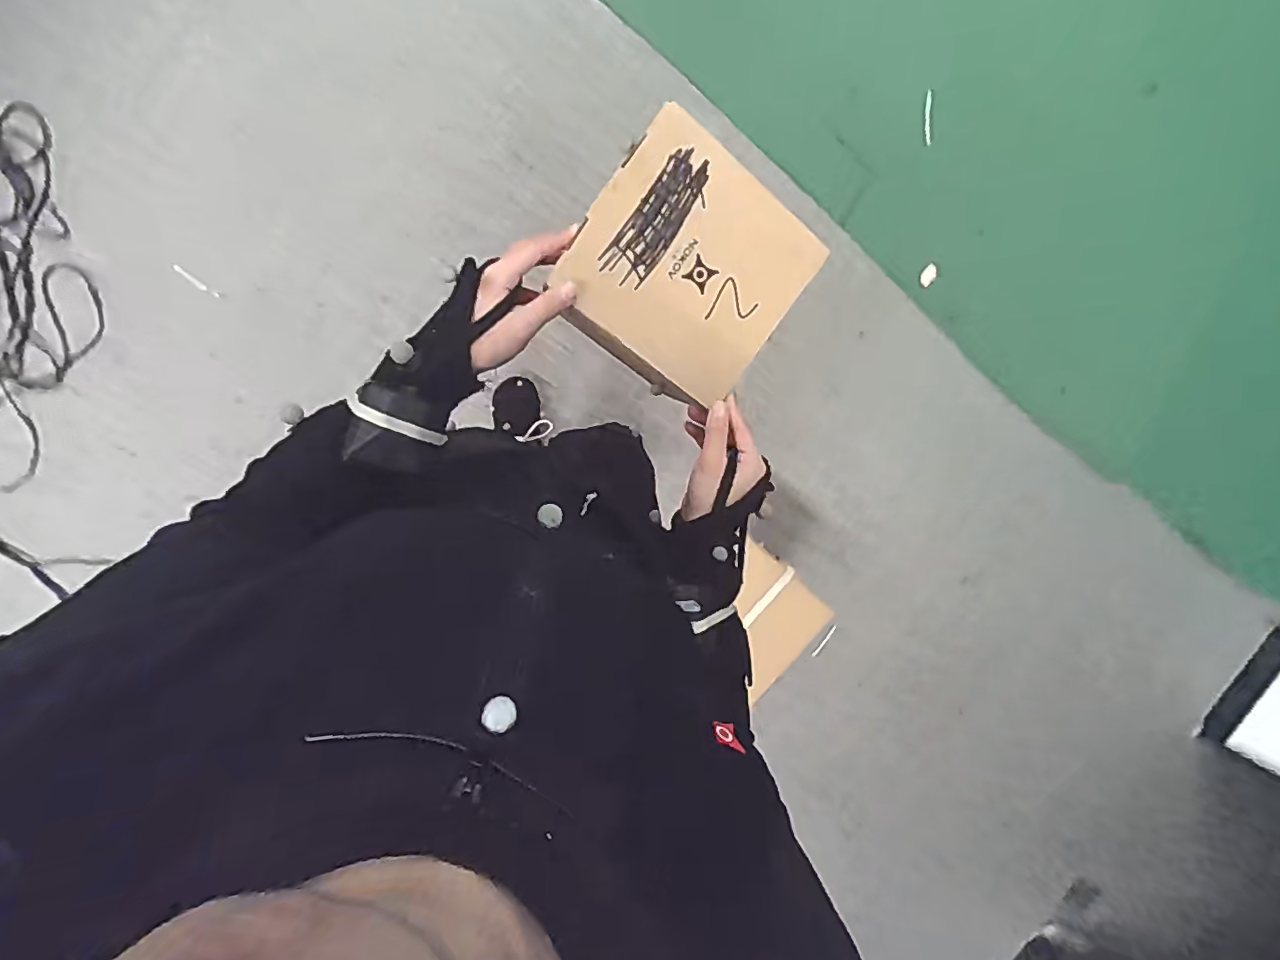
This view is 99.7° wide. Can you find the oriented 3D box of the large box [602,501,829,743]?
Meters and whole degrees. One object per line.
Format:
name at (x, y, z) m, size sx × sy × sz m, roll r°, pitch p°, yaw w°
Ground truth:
large box at (0.162, 0.321, 1.315) m, size 0.320 × 0.320 × 0.408 m, roll 41°, pitch 92°, yaw -14°
